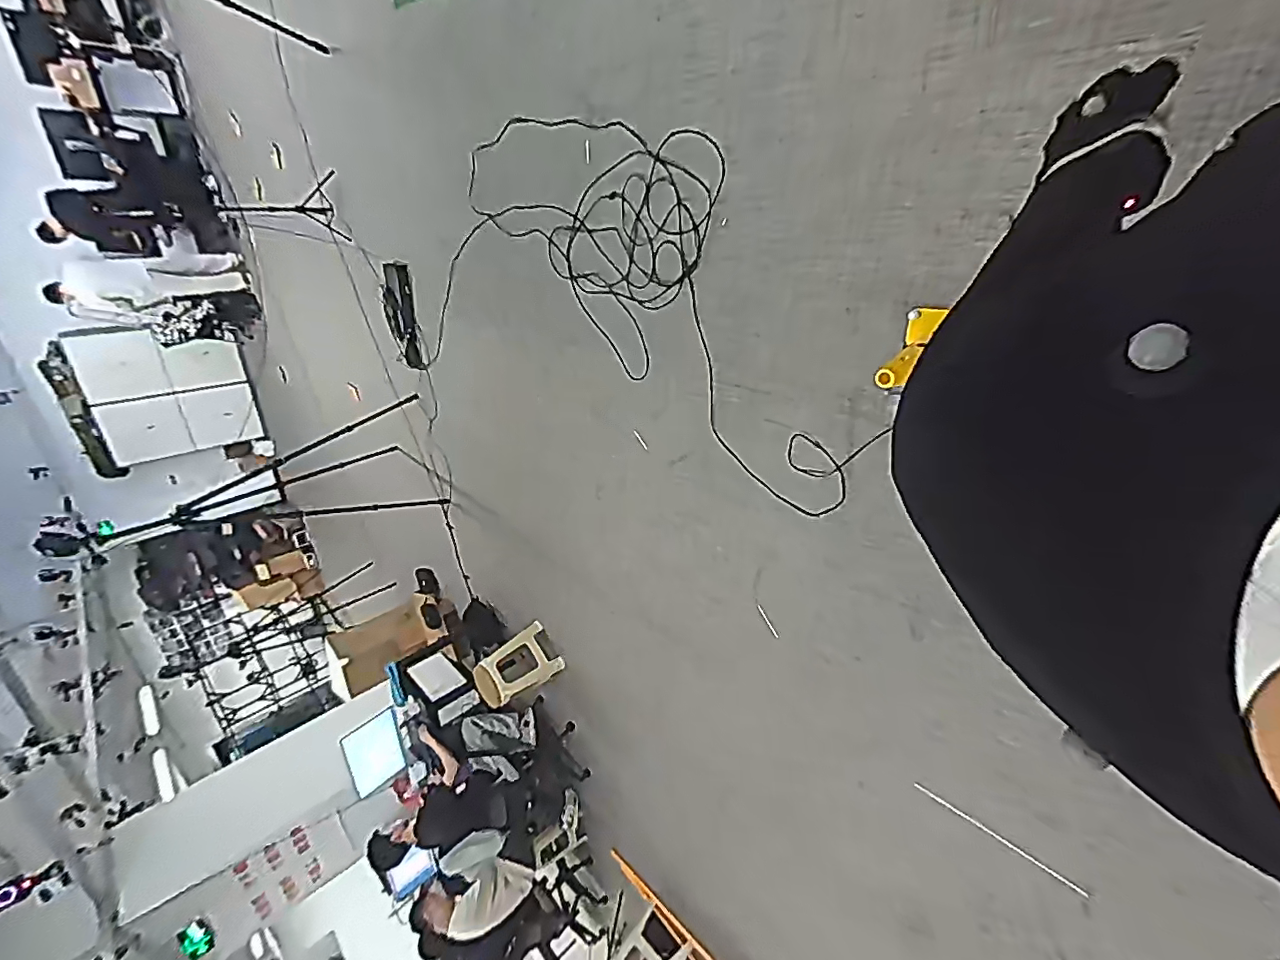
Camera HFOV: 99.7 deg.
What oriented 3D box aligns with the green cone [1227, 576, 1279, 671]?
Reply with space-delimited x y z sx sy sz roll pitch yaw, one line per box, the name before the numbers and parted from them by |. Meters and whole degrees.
green cone | 1.181 0.349 0.934 0.202 0.368 0.200 24 124 41
